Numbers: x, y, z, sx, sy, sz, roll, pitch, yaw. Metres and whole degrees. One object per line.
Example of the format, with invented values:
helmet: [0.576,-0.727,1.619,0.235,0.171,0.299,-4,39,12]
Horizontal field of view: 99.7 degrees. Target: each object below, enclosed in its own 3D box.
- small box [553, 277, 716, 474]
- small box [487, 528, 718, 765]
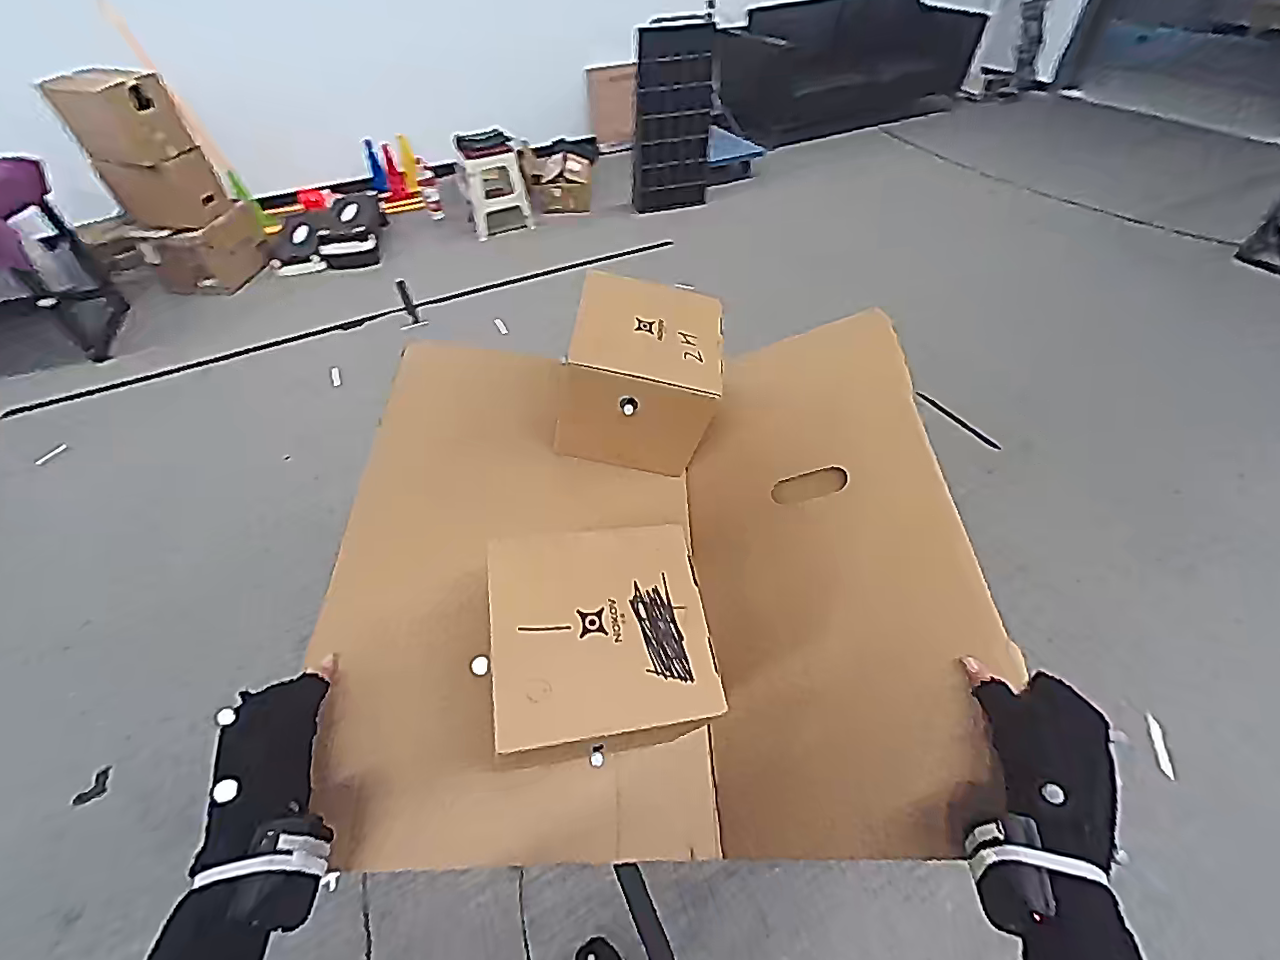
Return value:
small box: [-0.011,-0.127,0.704,0.179,0.176,0.168,11,56,-8]
small box: [-0.051,0.158,0.508,0.179,0.176,0.168,-3,59,-16]
